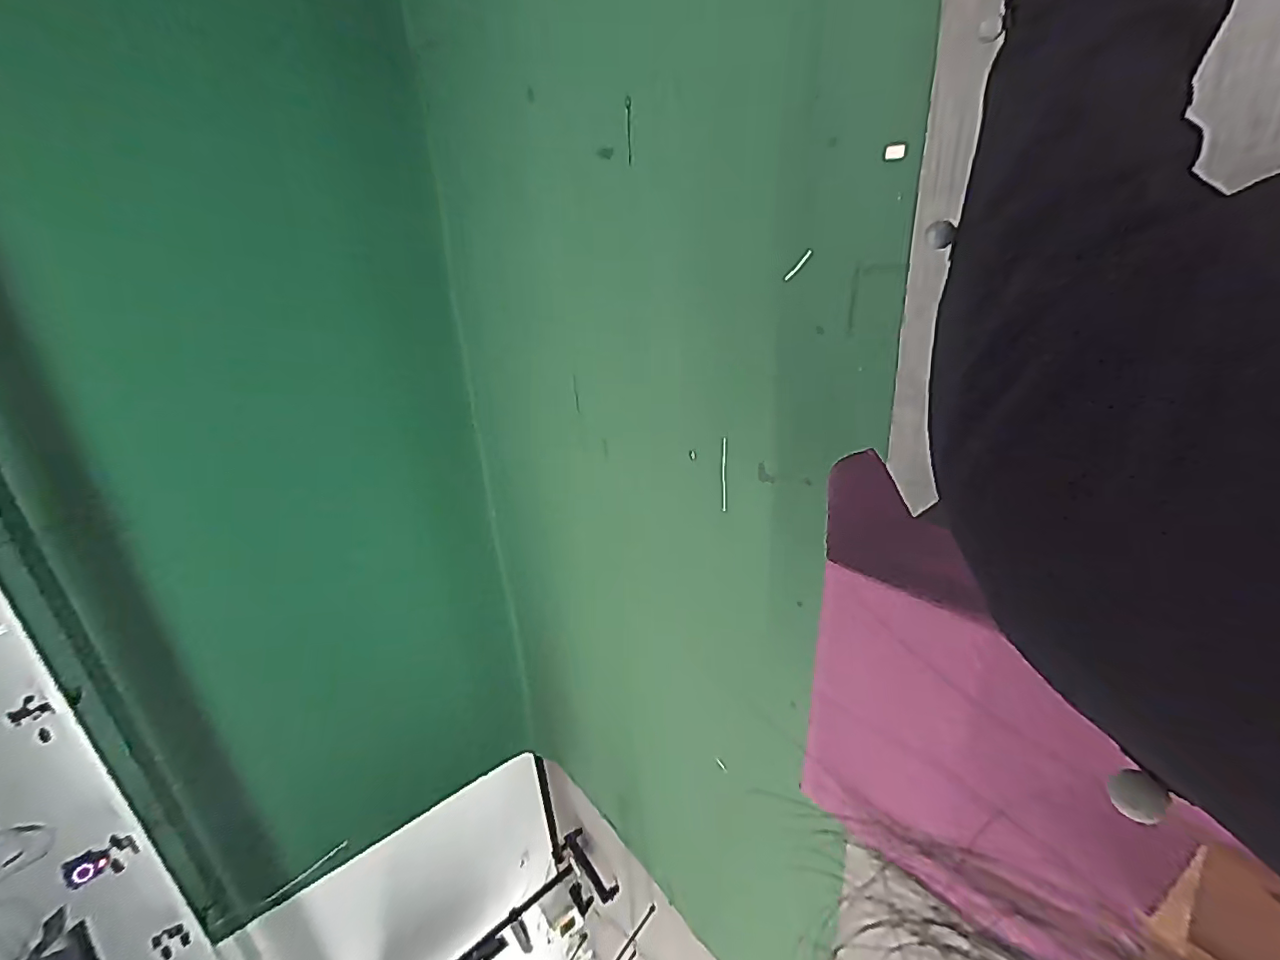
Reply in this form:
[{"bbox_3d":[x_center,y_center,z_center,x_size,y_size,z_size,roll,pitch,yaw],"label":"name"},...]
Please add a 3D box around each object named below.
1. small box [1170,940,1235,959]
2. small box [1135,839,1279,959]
[{"bbox_3d":[0.542,0.578,0.473,0.168,0.176,0.179,25,125,44],"label":"small box"},{"bbox_3d":[0.666,0.545,0.577,0.168,0.176,0.179,27,126,44],"label":"small box"}]
